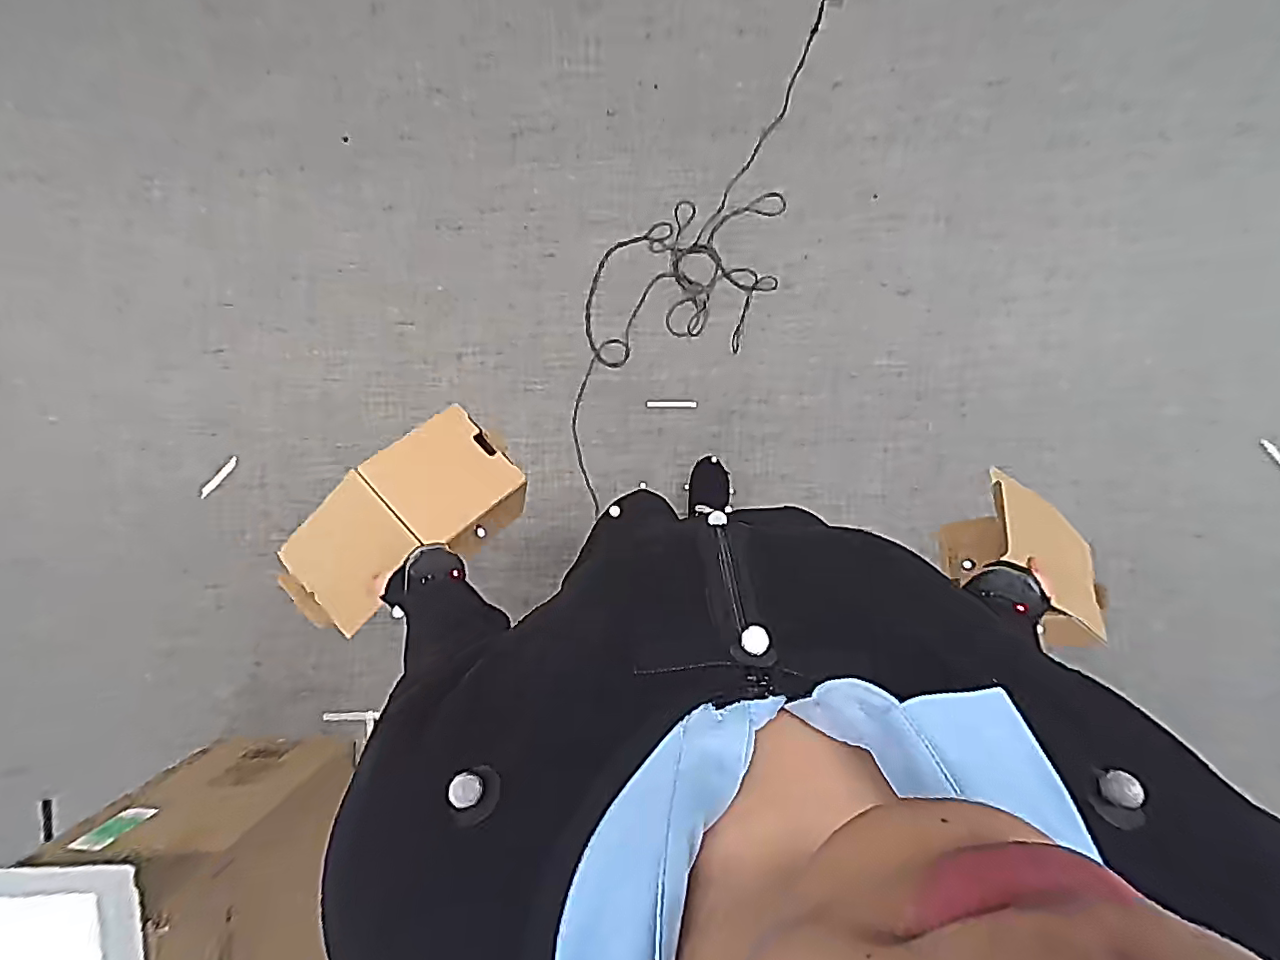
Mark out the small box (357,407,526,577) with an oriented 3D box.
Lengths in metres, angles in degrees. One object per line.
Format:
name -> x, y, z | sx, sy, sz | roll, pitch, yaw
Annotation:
small box -> -0.296, 0.027, 0.842 | 0.168, 0.176, 0.179 | 46, 64, 7
